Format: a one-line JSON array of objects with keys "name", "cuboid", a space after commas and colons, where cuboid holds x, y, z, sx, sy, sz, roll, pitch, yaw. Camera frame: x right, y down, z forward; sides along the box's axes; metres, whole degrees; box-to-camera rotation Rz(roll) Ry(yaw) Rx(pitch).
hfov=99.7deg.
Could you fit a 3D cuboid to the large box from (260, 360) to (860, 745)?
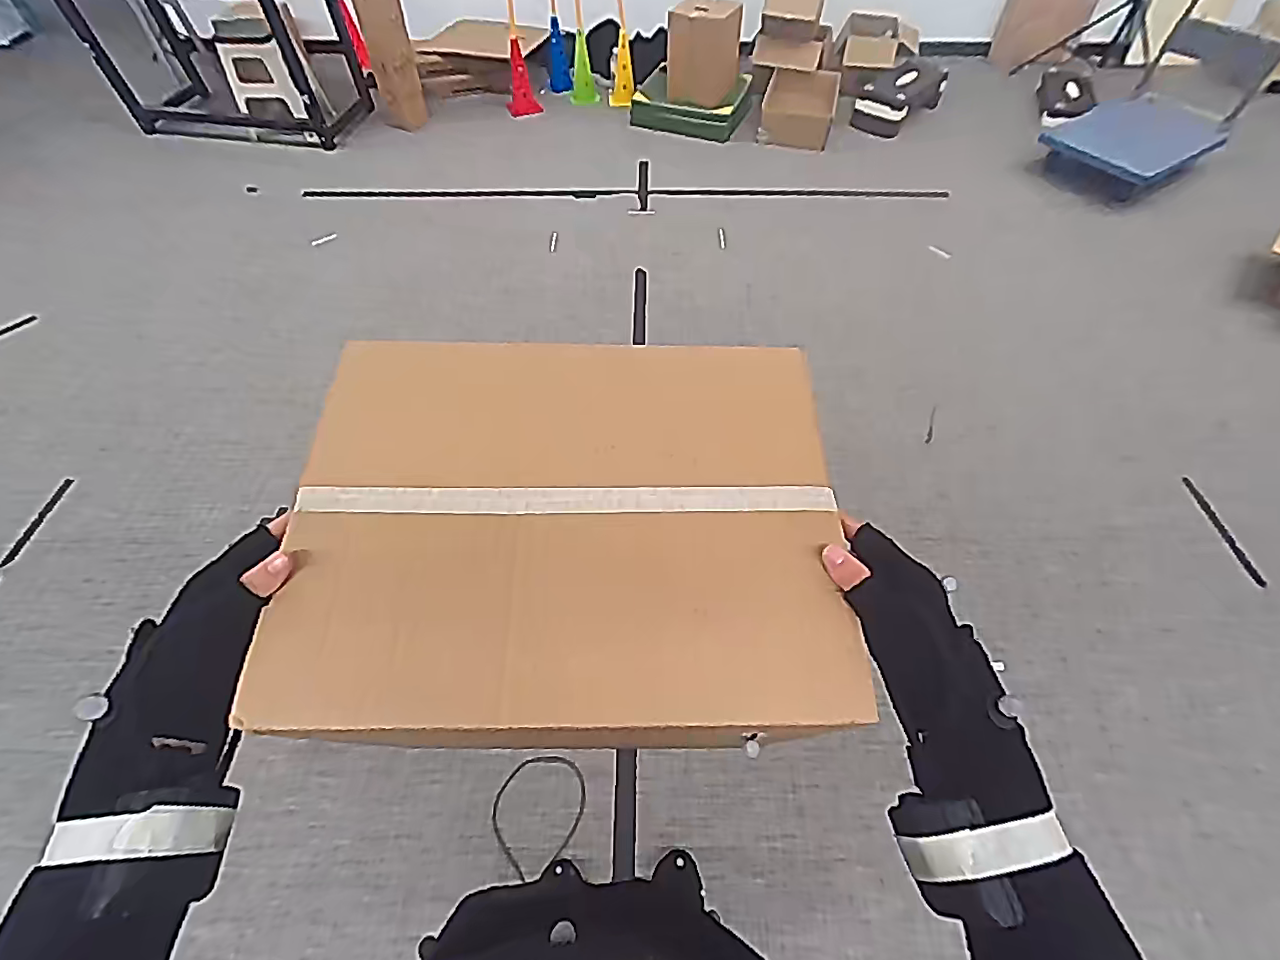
[{"name": "large box", "cuboid": [-0.055, 0.095, 0.555, 0.408, 0.320, 0.320, 0, 61, -2]}]
